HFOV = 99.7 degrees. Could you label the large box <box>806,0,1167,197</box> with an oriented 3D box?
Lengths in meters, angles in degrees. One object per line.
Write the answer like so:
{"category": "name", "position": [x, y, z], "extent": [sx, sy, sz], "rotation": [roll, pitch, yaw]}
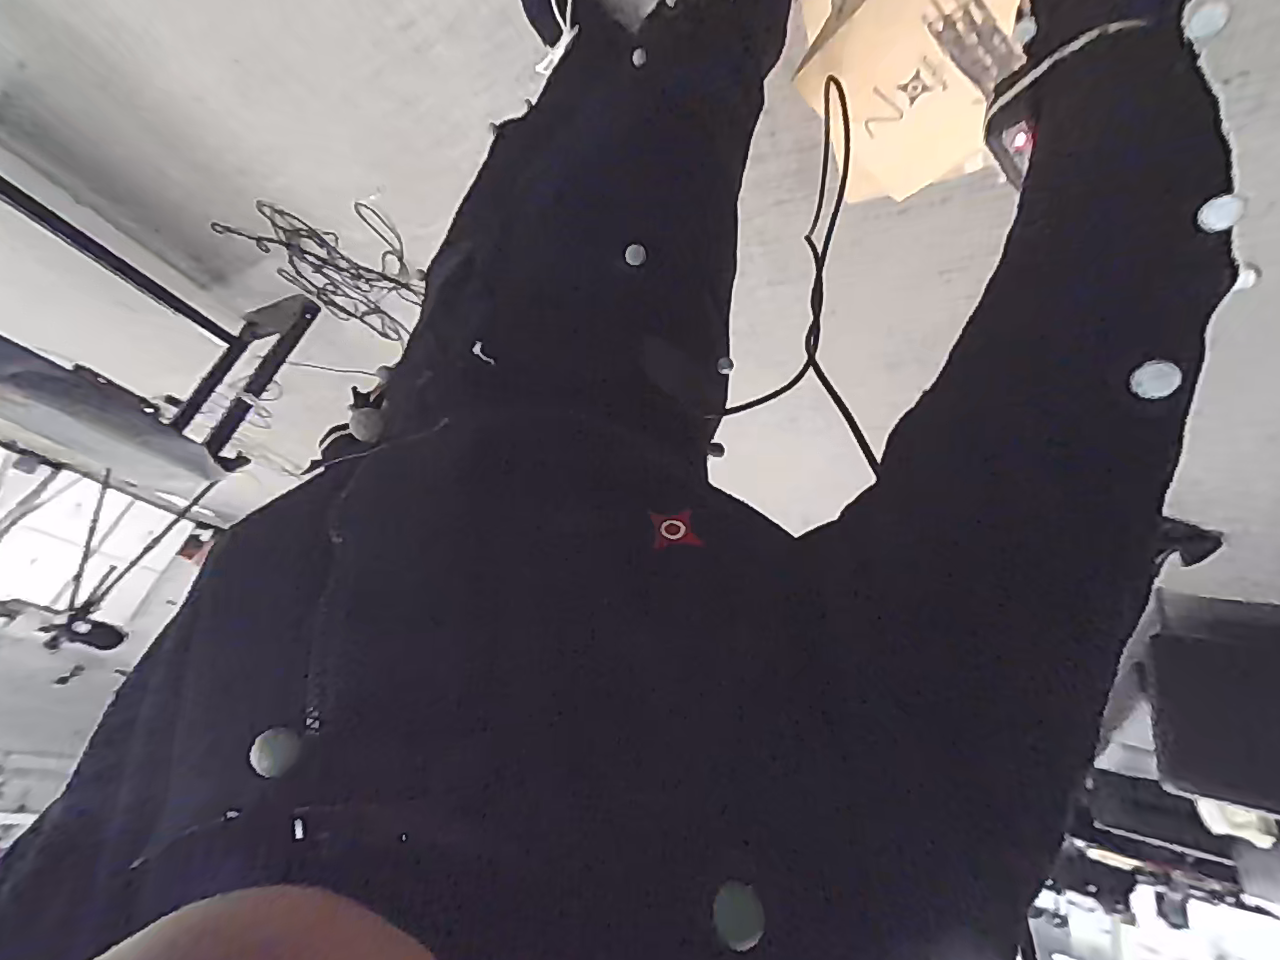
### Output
{"category": "large box", "position": [0.376, -0.627, 0.602], "extent": [0.320, 0.320, 0.408], "rotation": [2, 152, 35]}
